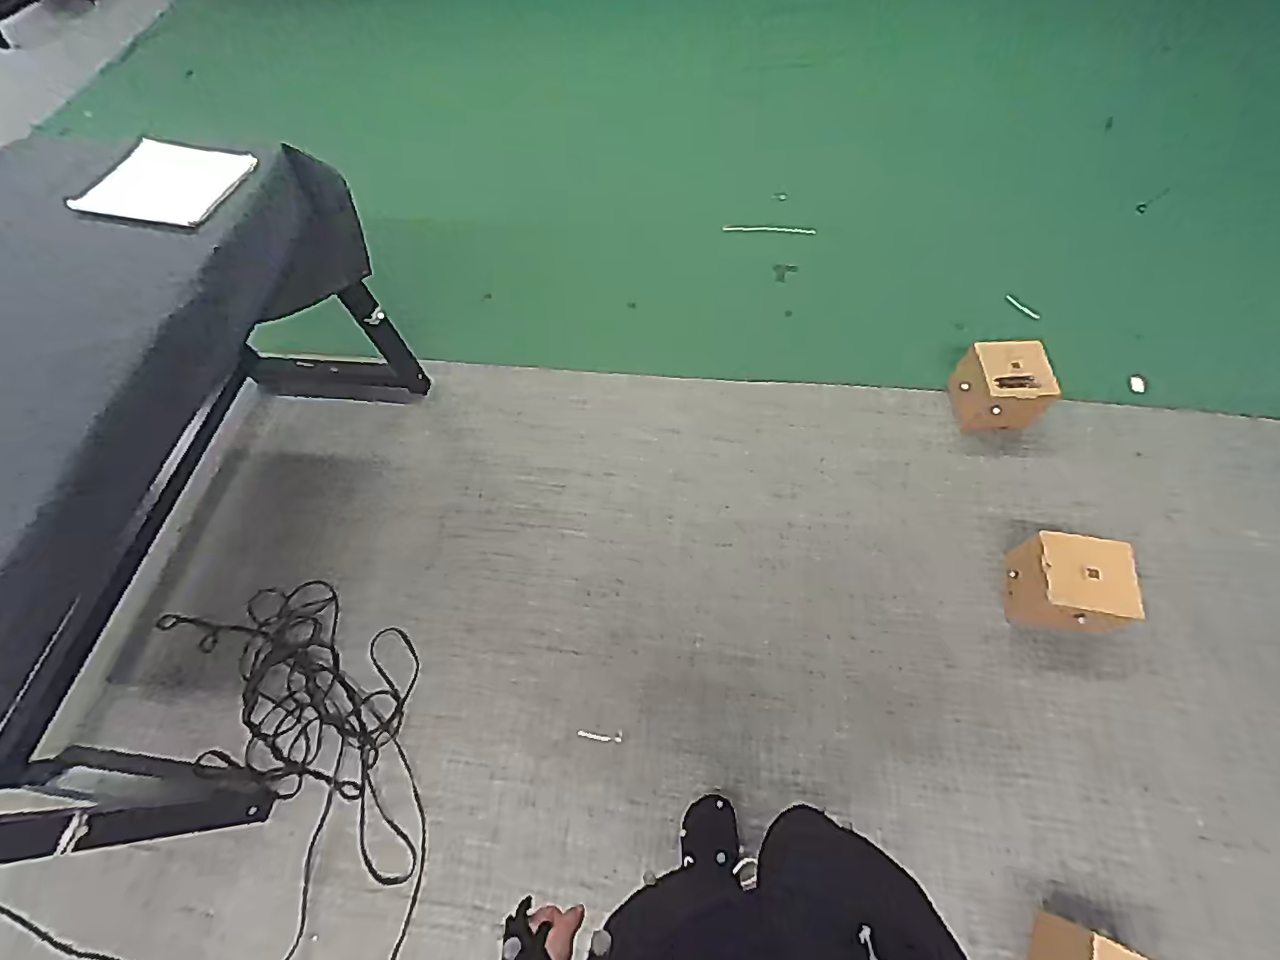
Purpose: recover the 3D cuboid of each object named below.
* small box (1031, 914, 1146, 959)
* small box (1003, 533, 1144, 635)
[{"bbox_3d":[0.770,0.862,0.882,0.168,0.176,0.179,21,65,14],"label":"small box"},{"bbox_3d":[0.941,0.235,1.191,0.179,0.176,0.168,8,64,10],"label":"small box"}]
